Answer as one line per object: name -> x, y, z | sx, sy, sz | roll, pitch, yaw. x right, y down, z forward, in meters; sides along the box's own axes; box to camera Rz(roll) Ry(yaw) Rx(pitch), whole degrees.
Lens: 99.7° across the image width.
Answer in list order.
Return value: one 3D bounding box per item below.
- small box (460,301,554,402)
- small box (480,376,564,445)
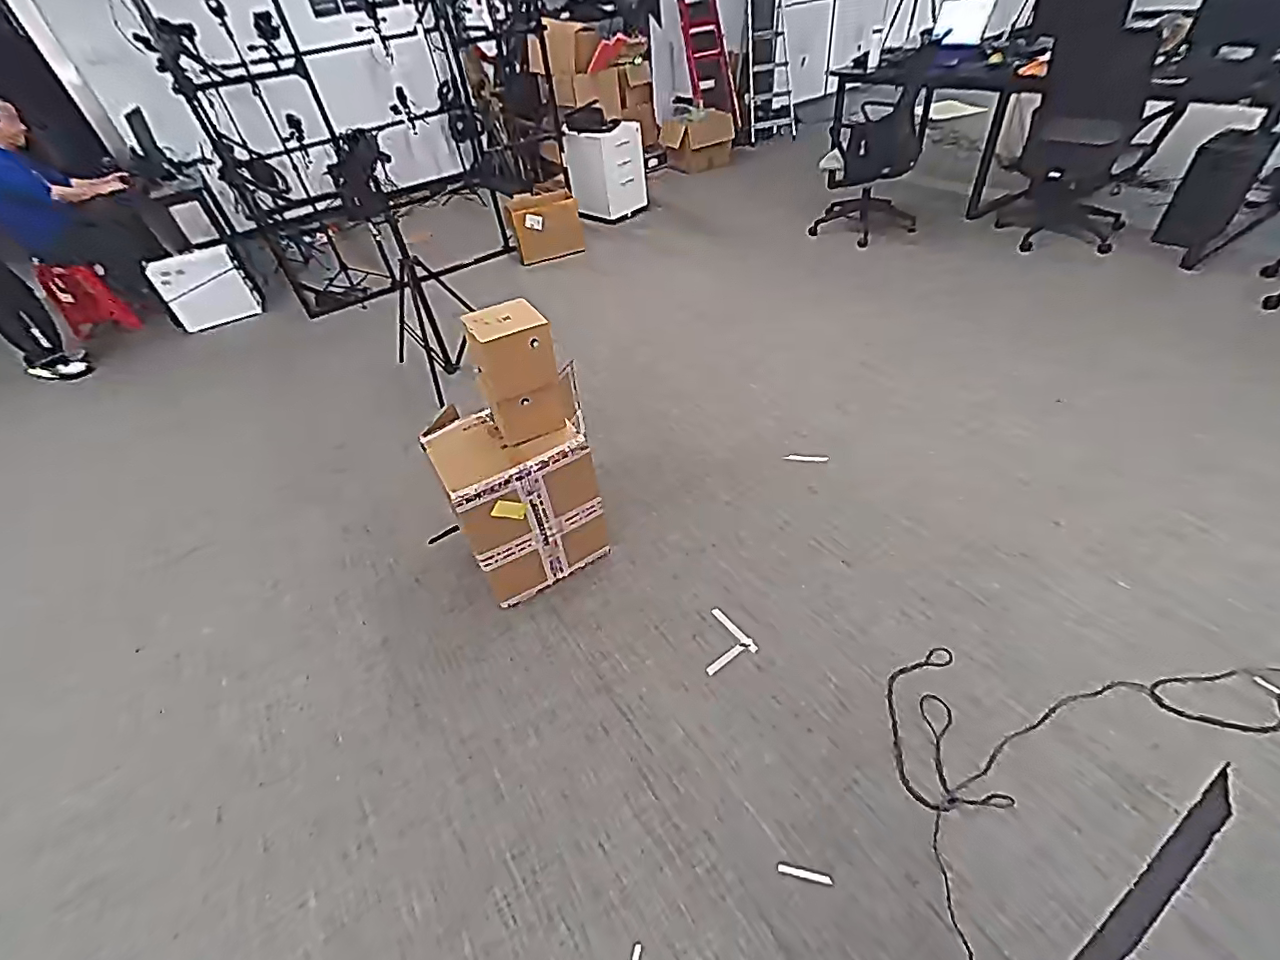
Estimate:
small box -> -0.332, -0.327, 1.379 | 0.179, 0.176, 0.168 | -25, 47, -19
small box -> -0.330, -0.224, 1.510 | 0.179, 0.176, 0.168 | -22, 46, -17
